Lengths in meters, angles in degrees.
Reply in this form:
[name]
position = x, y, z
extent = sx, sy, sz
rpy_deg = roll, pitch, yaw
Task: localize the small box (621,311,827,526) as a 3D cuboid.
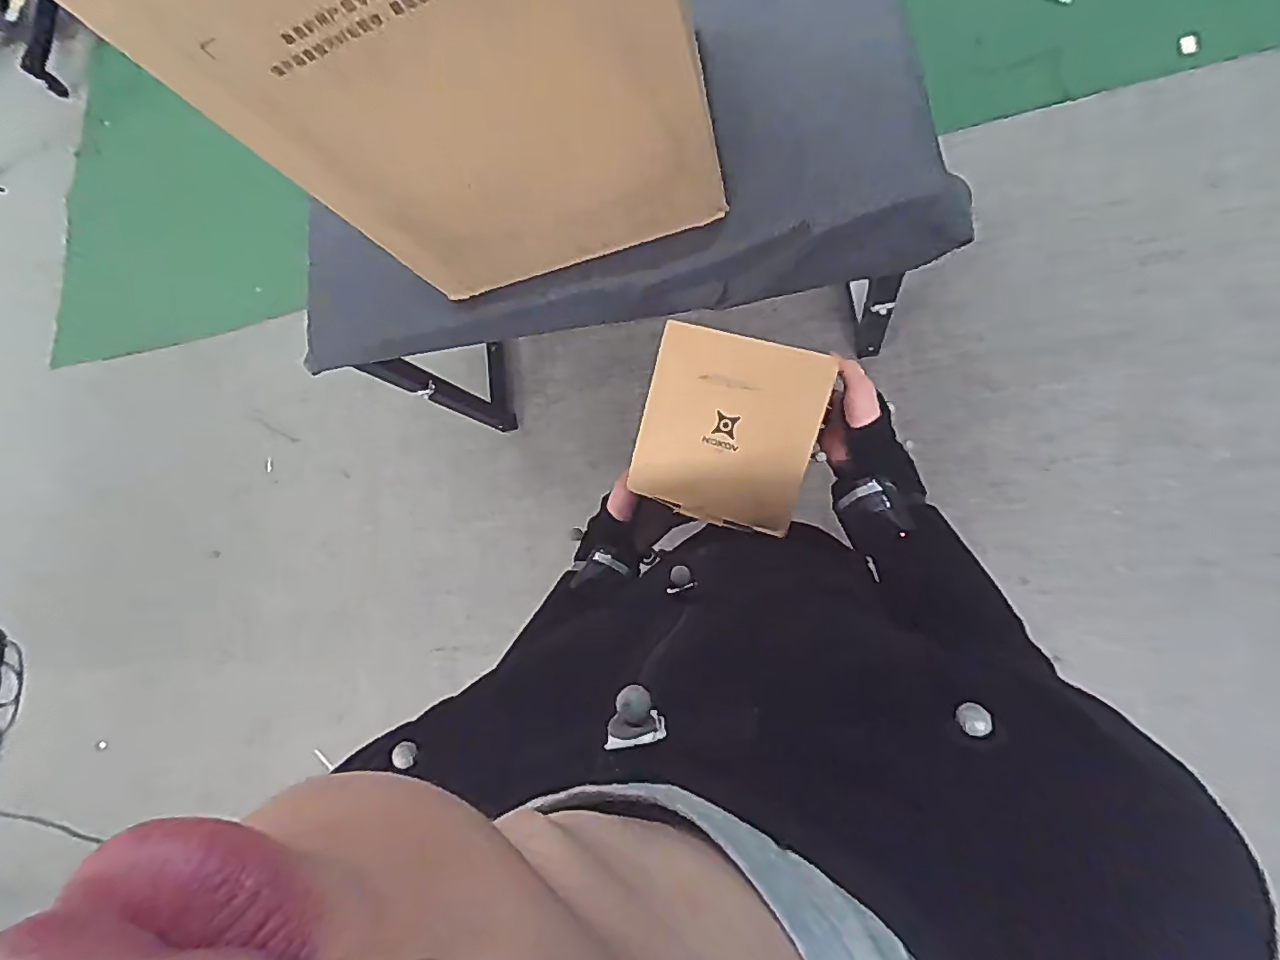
[small box]
position = 0.097, -0.070, 0.595
extent = 0.168, 0.176, 0.179
rpy_deg = 16, 102, 13
